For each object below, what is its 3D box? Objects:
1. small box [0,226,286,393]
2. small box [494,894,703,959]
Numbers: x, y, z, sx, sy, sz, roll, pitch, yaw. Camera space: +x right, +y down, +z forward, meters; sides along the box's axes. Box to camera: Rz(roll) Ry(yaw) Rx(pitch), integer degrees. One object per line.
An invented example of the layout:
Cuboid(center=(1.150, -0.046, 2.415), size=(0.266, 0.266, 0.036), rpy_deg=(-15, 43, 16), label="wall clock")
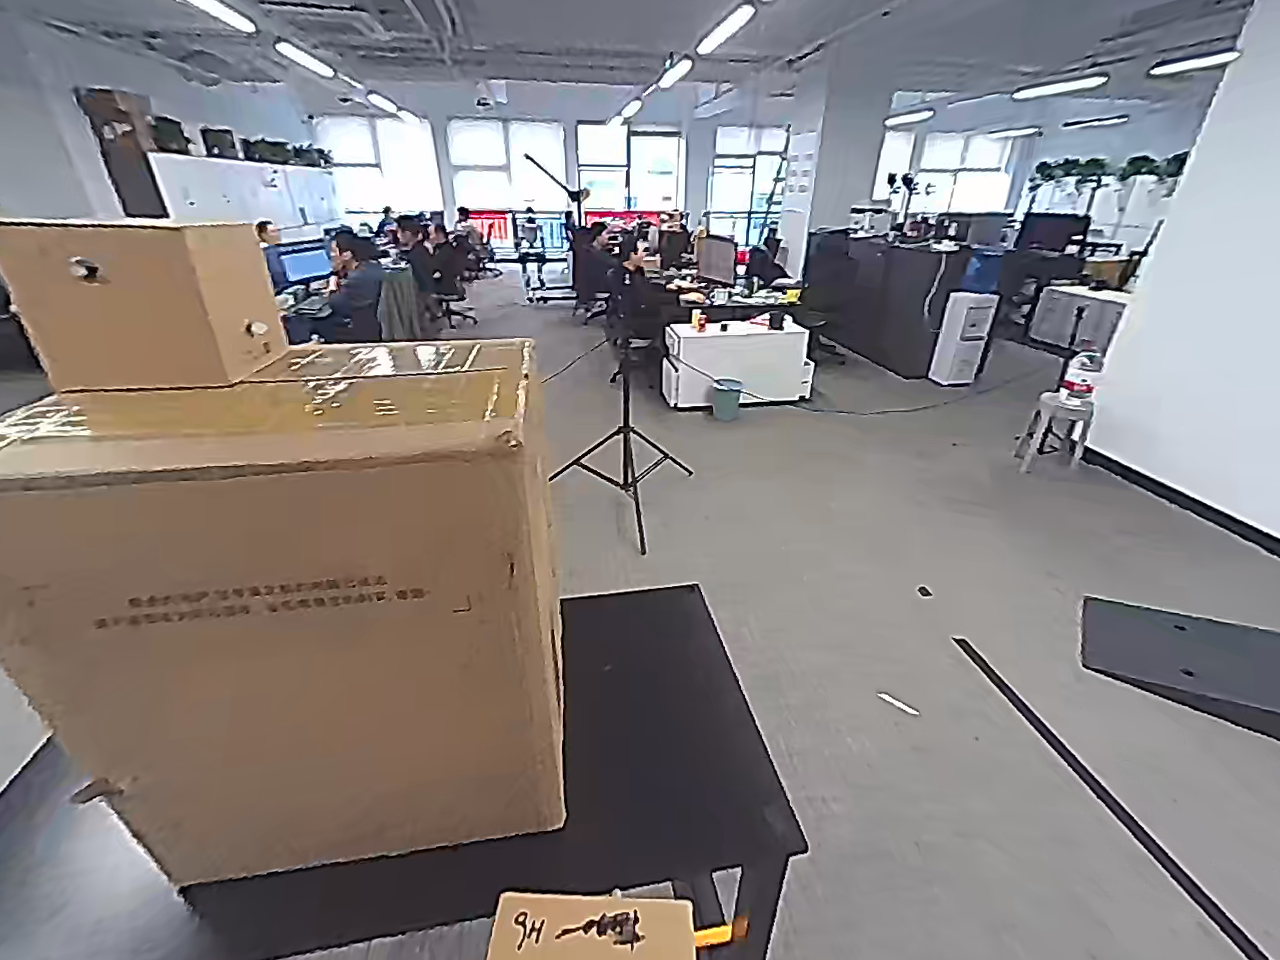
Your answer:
Cuboid(center=(-0.559, -0.204, 0.634), size=(0.179, 0.176, 0.168), rpy_deg=(-3, 27, -9), label="small box")
Cuboid(center=(-0.038, 0.465, 0.421), size=(0.168, 0.176, 0.179), rpy_deg=(5, 30, -2), label="small box")
